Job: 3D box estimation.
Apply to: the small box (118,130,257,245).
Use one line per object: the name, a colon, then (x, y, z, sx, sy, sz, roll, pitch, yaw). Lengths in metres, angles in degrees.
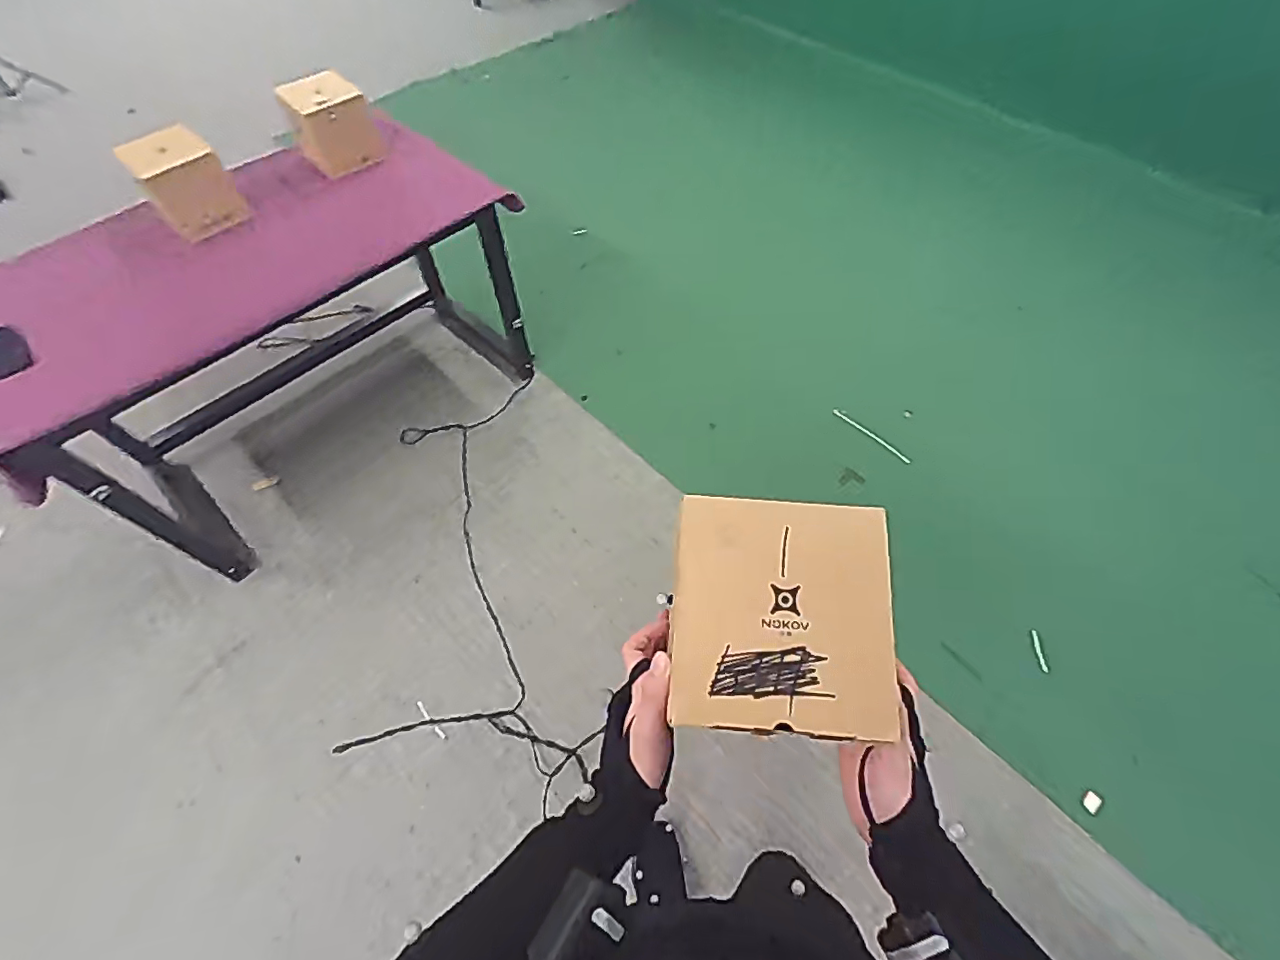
small box: (-1.097, -0.711, 1.323, 0.179, 0.176, 0.168, 39, 67, 21)

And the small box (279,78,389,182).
small box: (-0.825, -0.947, 1.469, 0.168, 0.176, 0.179, -40, 66, -21)

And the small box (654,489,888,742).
small box: (0.100, 0.118, 0.480, 0.168, 0.176, 0.179, 4, 72, 2)
